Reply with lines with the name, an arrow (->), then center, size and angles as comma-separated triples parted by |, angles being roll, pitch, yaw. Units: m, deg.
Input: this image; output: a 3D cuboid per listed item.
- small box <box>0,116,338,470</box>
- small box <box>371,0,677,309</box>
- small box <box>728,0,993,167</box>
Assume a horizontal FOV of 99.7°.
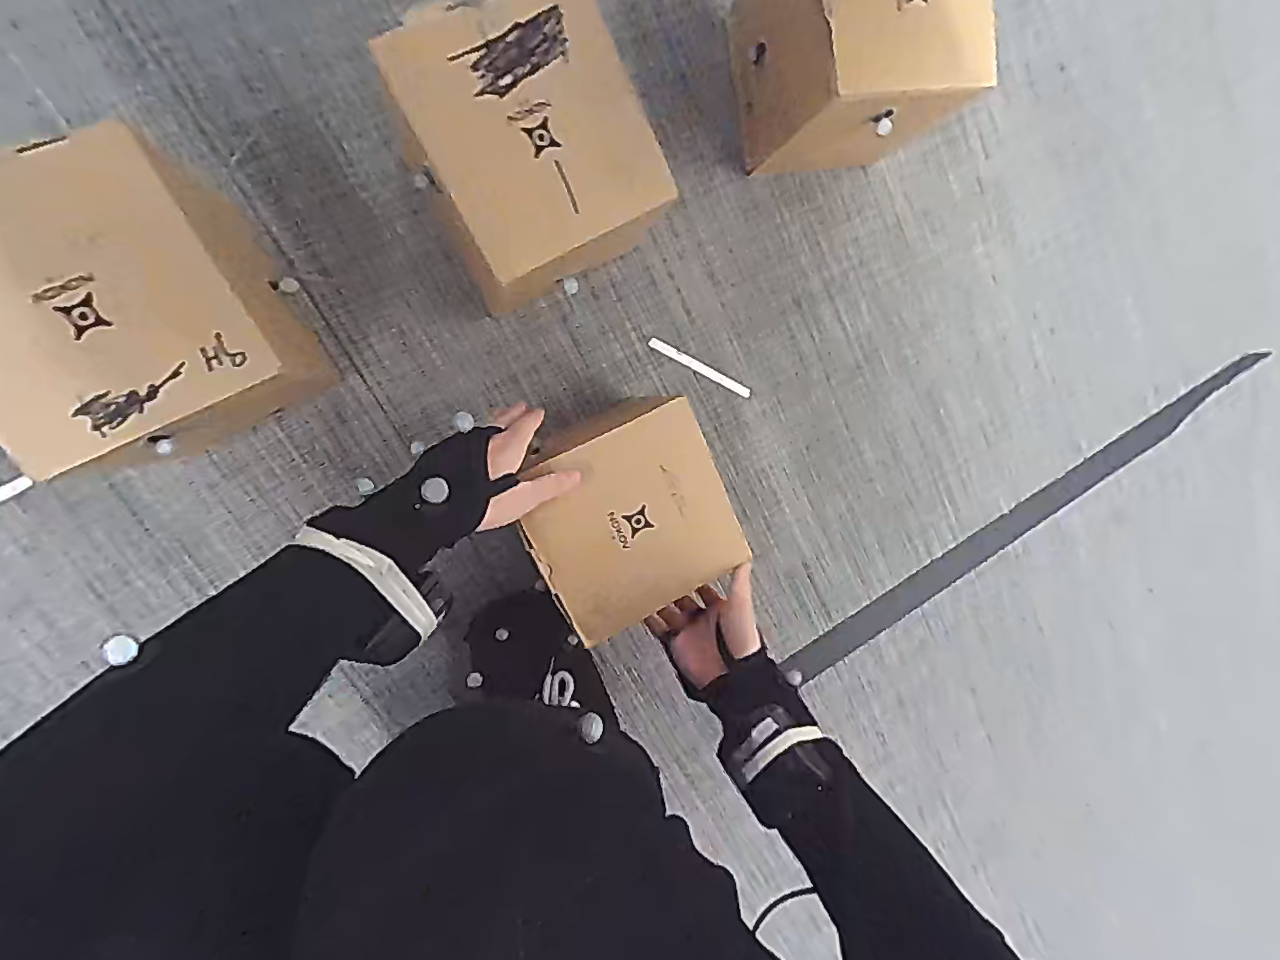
small box -> -0.371, -0.123, 0.415 | 0.168, 0.176, 0.179 | -28, 103, -11
small box -> -0.099, -0.274, 0.473 | 0.168, 0.176, 0.179 | -31, 105, -10
small box -> 0.210, -0.439, 0.542 | 0.179, 0.176, 0.168 | -14, 101, -13
